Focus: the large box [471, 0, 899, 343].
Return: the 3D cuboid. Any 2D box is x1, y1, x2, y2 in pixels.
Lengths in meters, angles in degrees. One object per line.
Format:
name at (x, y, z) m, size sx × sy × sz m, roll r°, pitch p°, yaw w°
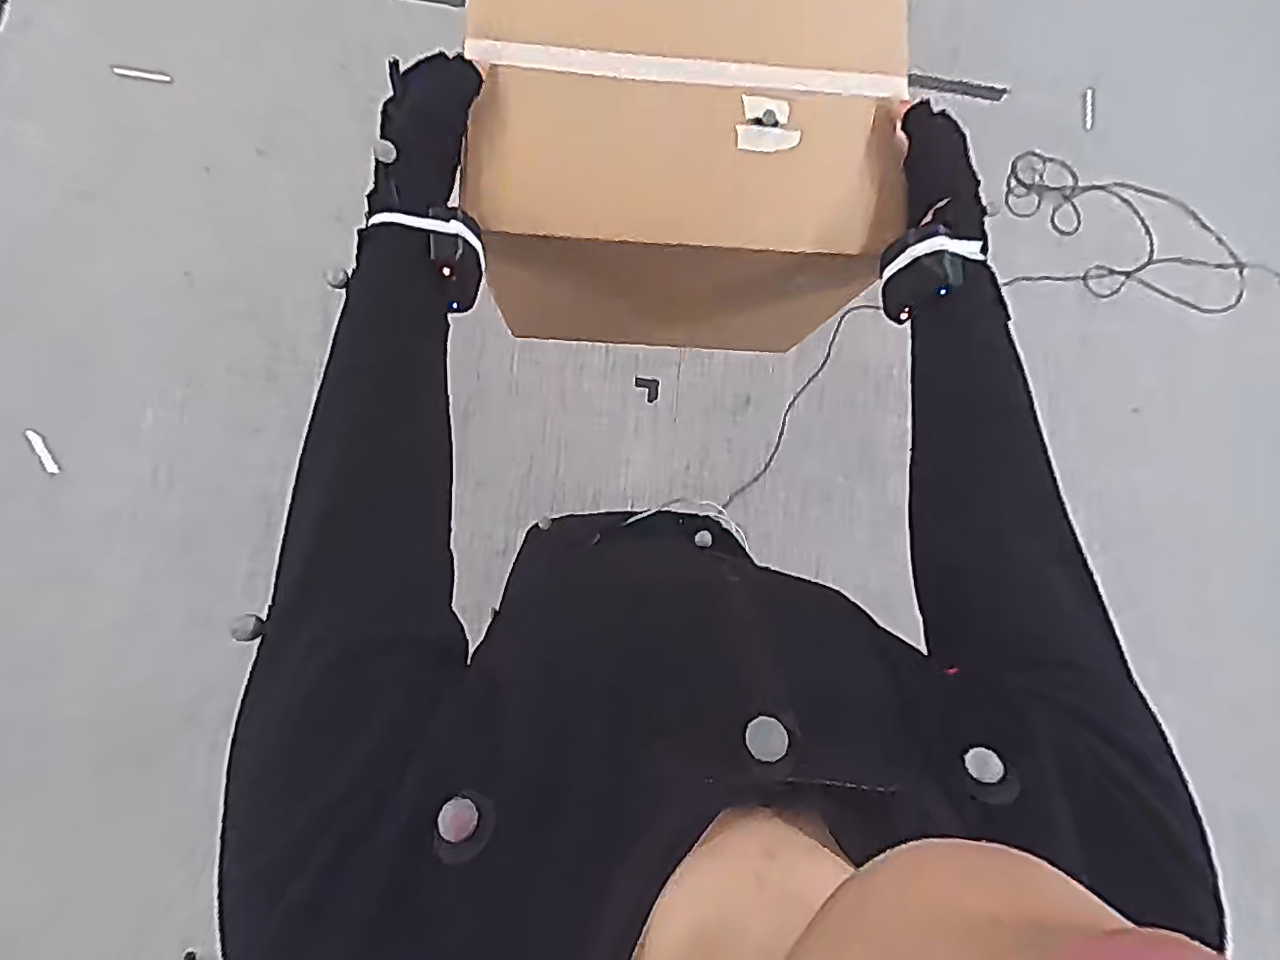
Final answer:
large box at (0.034, -0.365, 0.648) m, size 0.408 × 0.320 × 0.320 m, roll 2°, pitch 88°, yaw -6°
